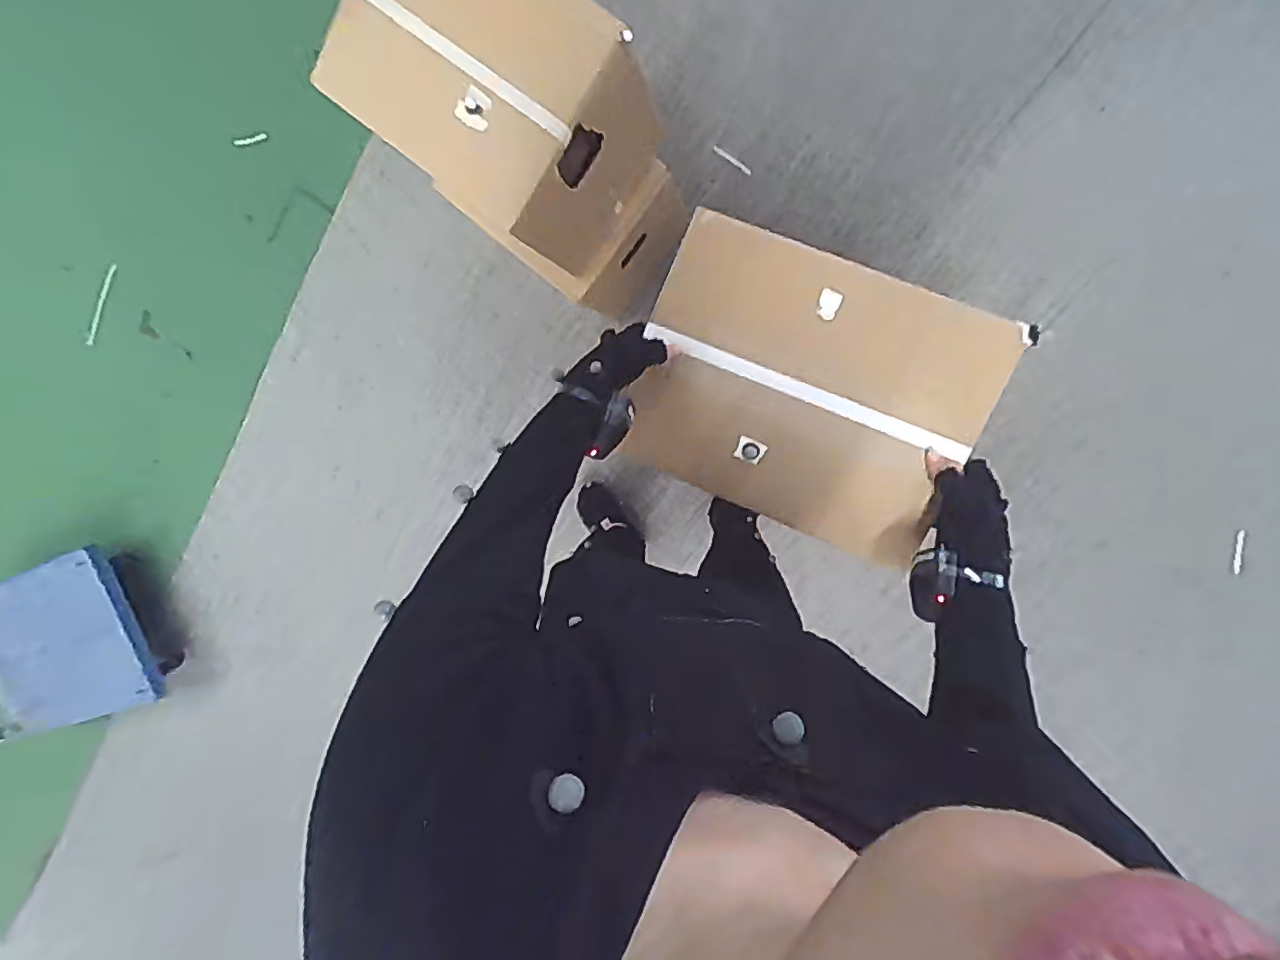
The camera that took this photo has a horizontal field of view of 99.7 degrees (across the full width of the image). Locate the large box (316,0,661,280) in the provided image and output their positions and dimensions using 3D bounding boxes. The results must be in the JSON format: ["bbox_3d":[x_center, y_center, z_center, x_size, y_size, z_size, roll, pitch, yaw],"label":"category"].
[{"bbox_3d":[-0.226,-0.617,0.923,0.408,0.320,0.320,39,103,4],"label":"large box"}]
